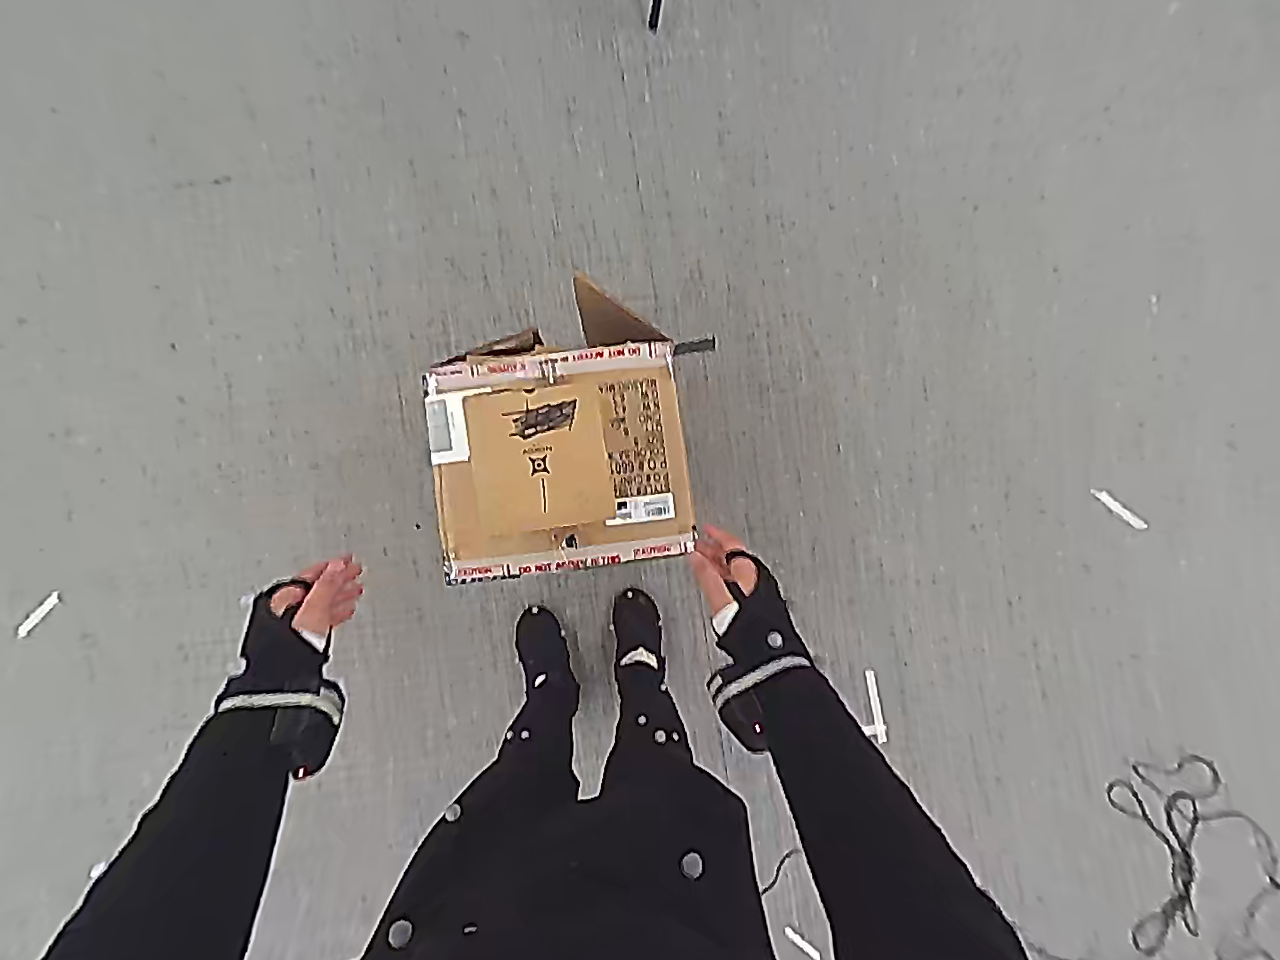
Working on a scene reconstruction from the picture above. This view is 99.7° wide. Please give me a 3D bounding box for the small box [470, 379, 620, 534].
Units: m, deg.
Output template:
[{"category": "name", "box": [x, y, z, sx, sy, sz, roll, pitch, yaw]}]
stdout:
[{"category": "small box", "box": [-0.120, -0.030, 0.741, 0.168, 0.176, 0.179, -8, 92, -2]}]
